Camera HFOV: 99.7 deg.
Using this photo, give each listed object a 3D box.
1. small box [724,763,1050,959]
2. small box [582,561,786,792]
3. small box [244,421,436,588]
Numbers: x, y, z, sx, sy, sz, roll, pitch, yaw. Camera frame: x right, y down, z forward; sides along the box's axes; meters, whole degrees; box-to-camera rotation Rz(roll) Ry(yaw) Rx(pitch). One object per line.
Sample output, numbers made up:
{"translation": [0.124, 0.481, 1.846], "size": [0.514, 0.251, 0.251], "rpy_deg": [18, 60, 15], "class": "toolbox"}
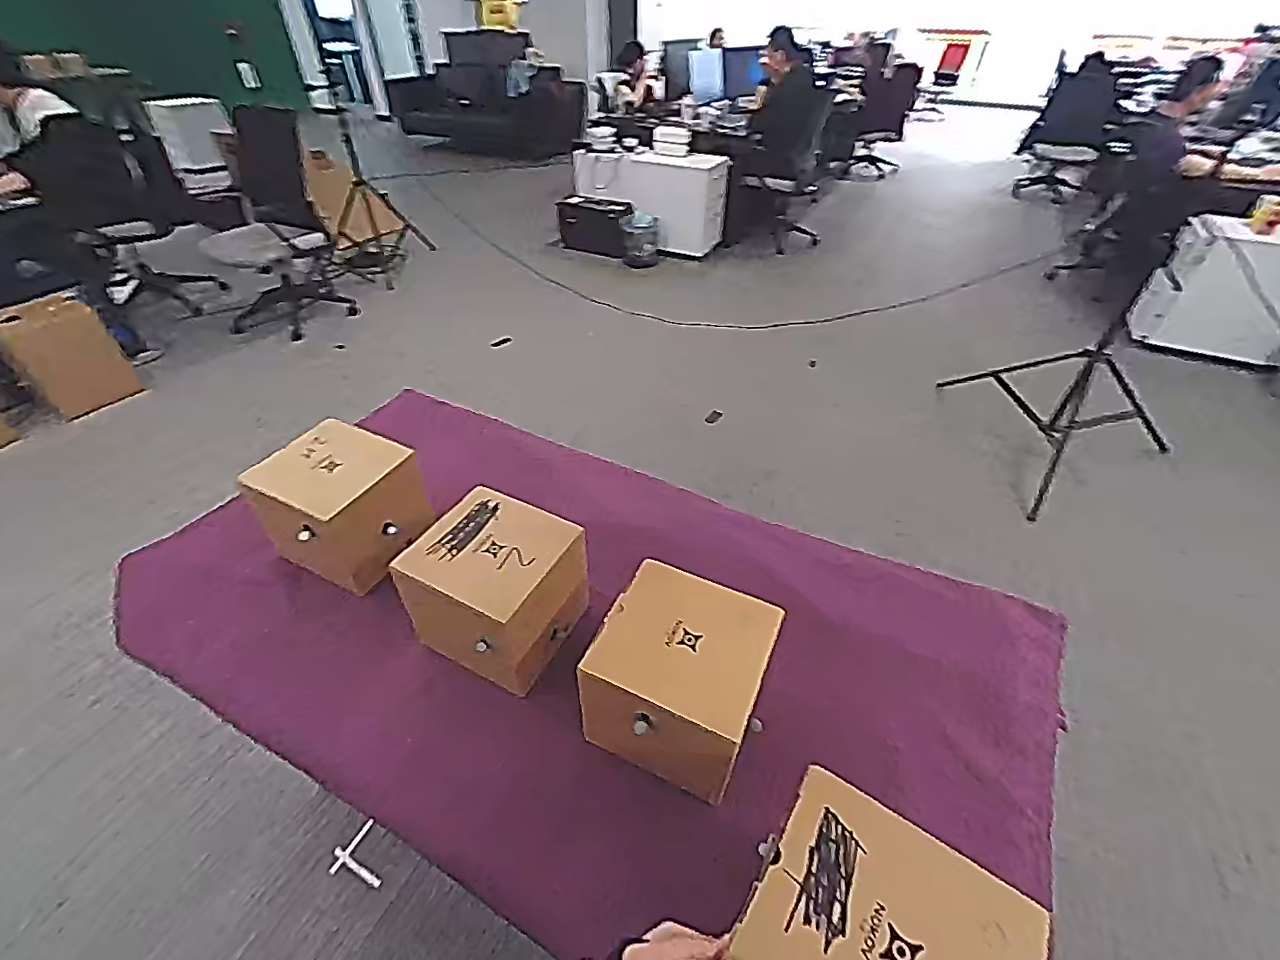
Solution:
{"translation": [0.172, 0.373, 0.418], "size": [0.179, 0.176, 0.168], "rpy_deg": [24, 44, 28], "class": "small box"}
{"translation": [0.051, 0.231, 0.634], "size": [0.179, 0.176, 0.168], "rpy_deg": [18, 44, 19], "class": "small box"}
{"translation": [-0.445, 0.041, 0.836], "size": [0.179, 0.176, 0.168], "rpy_deg": [20, 44, 17], "class": "small box"}
